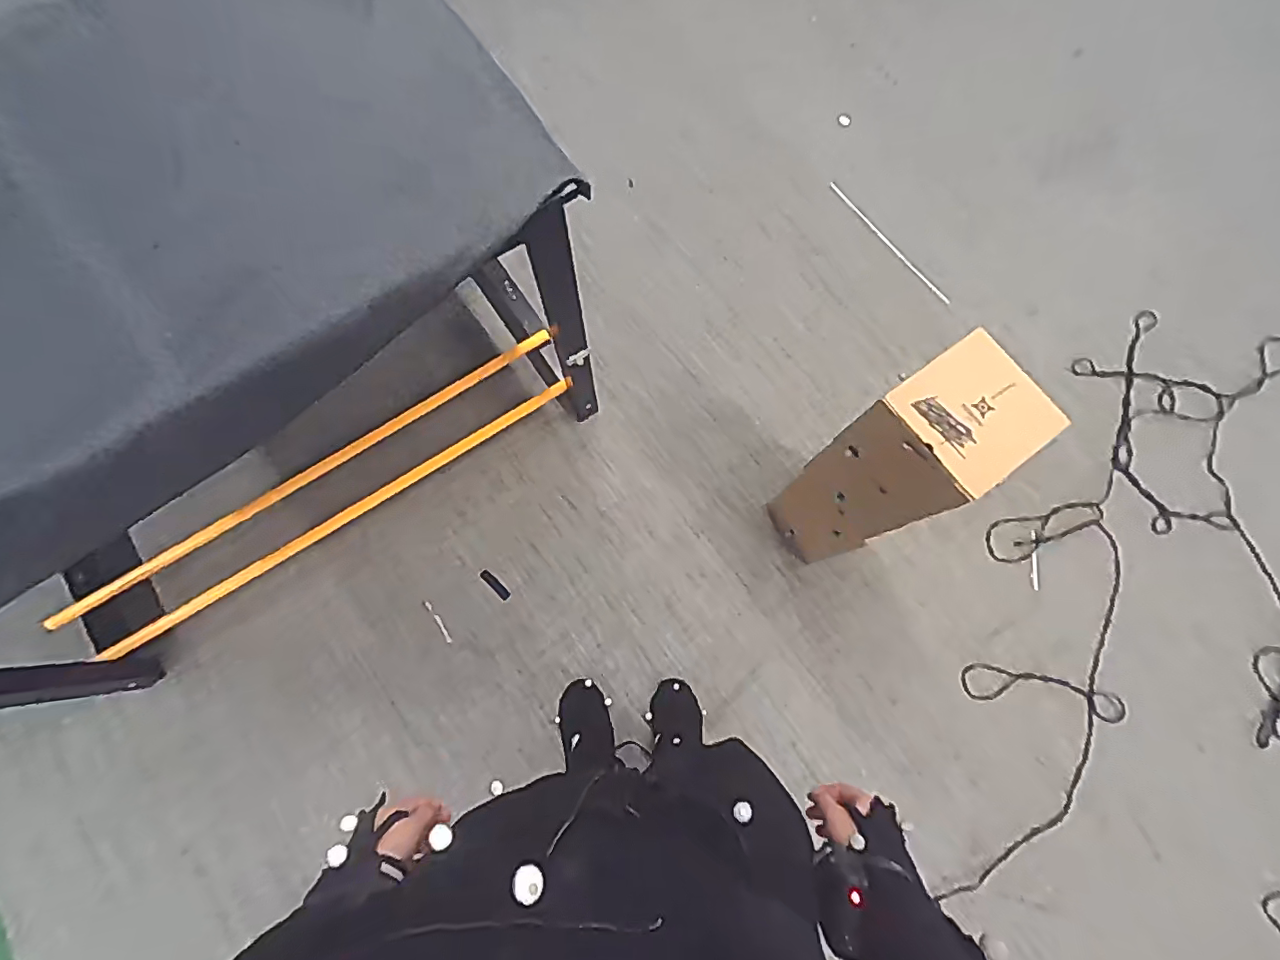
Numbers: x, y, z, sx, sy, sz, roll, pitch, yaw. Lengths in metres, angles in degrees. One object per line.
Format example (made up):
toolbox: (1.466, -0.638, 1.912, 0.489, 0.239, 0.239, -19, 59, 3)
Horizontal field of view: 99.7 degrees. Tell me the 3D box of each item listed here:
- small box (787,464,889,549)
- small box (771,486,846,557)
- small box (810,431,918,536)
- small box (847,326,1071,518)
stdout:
small box: (0.420, 0.021, 1.059, 0.168, 0.176, 0.179, -34, 78, -10)
small box: (0.423, 0.062, 1.217, 0.168, 0.176, 0.179, -31, 79, -8)
small box: (0.418, -0.026, 0.901, 0.179, 0.176, 0.168, -32, 78, -9)
small box: (0.413, -0.068, 0.742, 0.179, 0.176, 0.168, -34, 79, -10)
